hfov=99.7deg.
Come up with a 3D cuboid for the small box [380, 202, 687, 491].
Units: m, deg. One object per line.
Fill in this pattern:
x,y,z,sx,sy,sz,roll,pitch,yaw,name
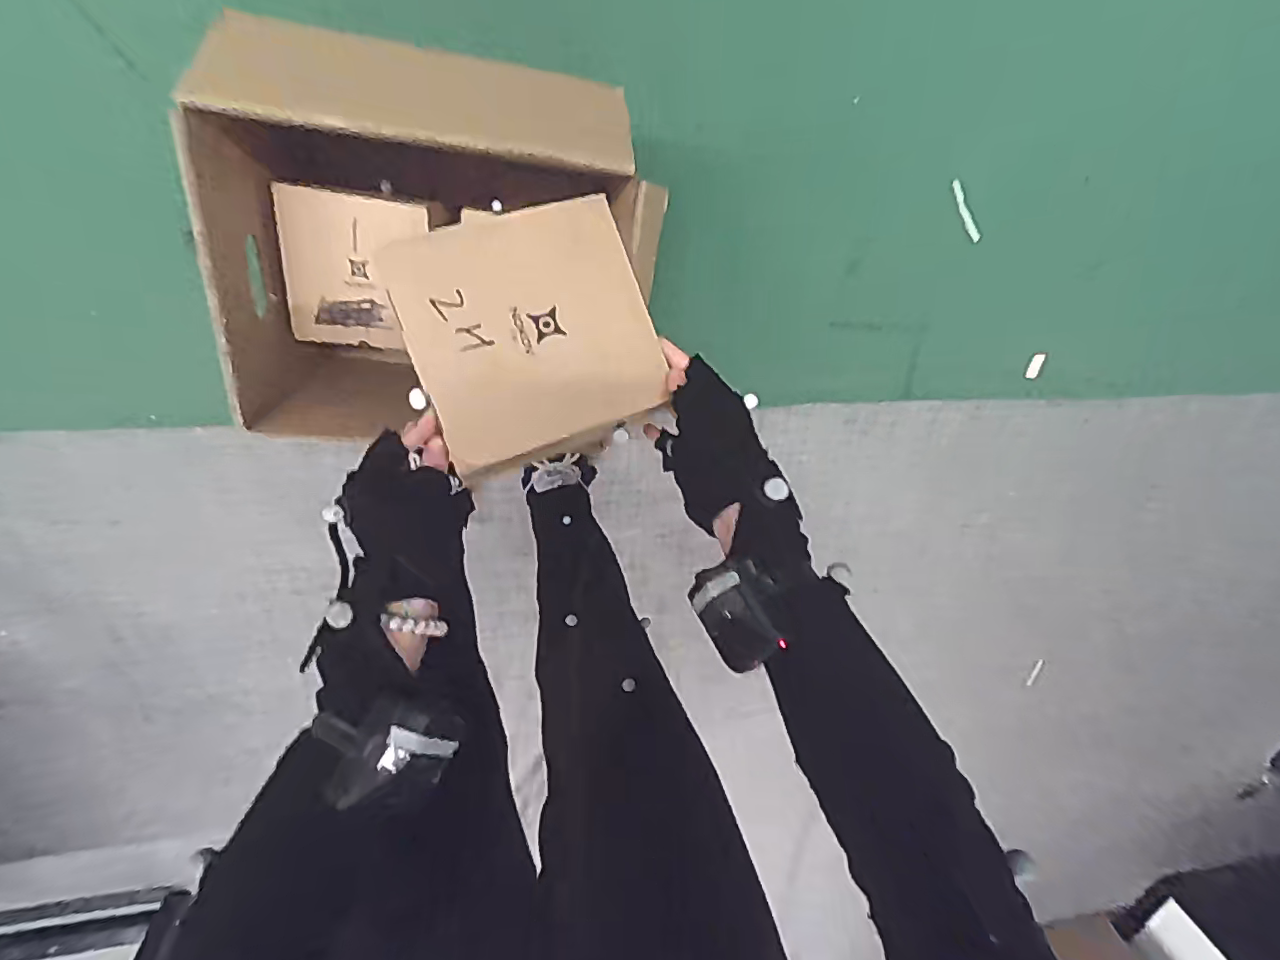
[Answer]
-0.090,-0.097,0.458,0.179,0.176,0.168,-22,91,-17,small box
